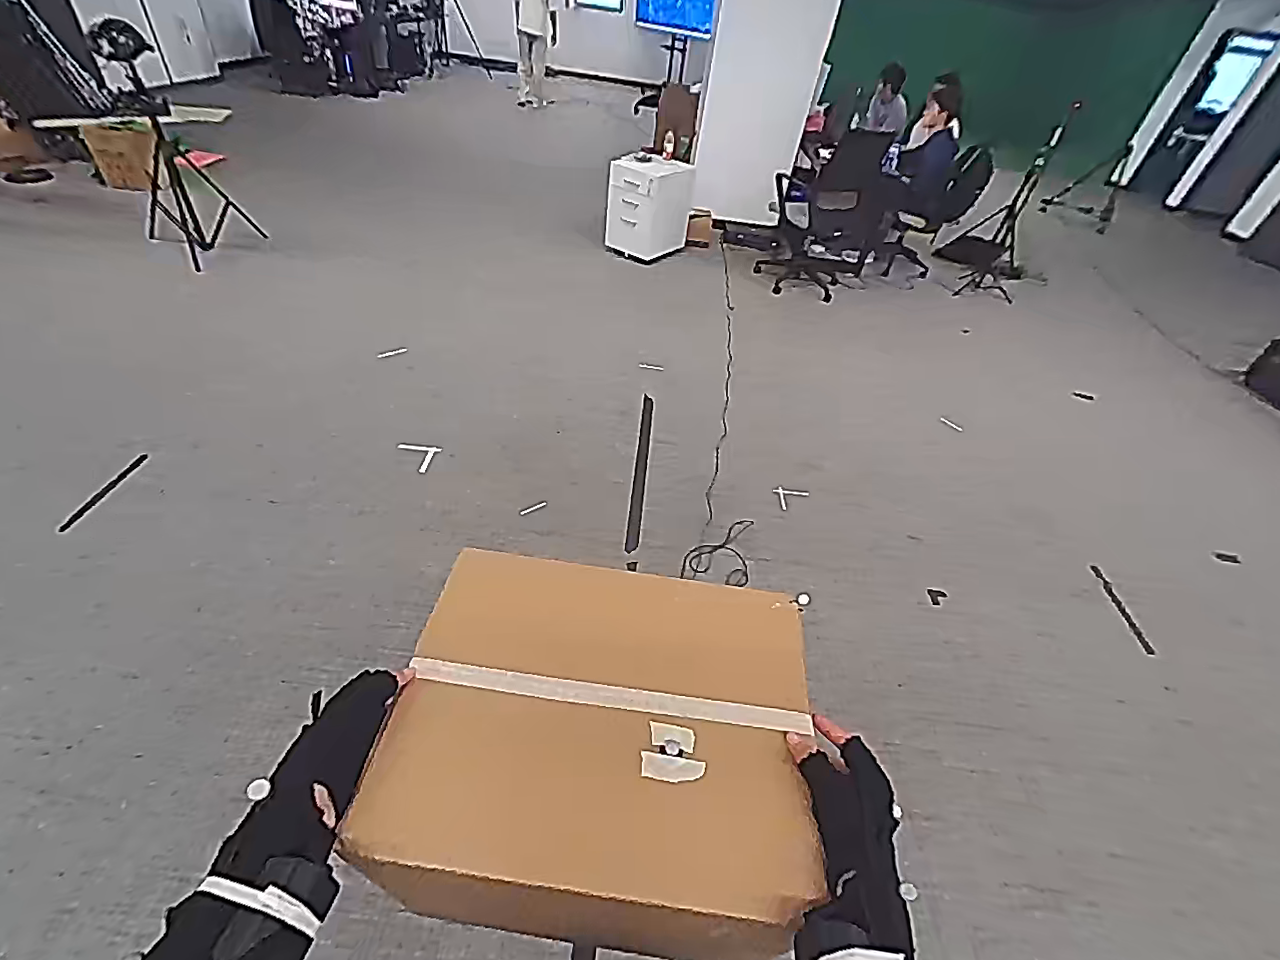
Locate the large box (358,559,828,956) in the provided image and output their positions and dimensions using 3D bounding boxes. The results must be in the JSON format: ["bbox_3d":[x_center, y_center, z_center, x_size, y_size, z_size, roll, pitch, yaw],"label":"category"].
[{"bbox_3d":[-0.039,0.332,0.654,0.408,0.320,0.320,8,45,2],"label":"large box"}]
